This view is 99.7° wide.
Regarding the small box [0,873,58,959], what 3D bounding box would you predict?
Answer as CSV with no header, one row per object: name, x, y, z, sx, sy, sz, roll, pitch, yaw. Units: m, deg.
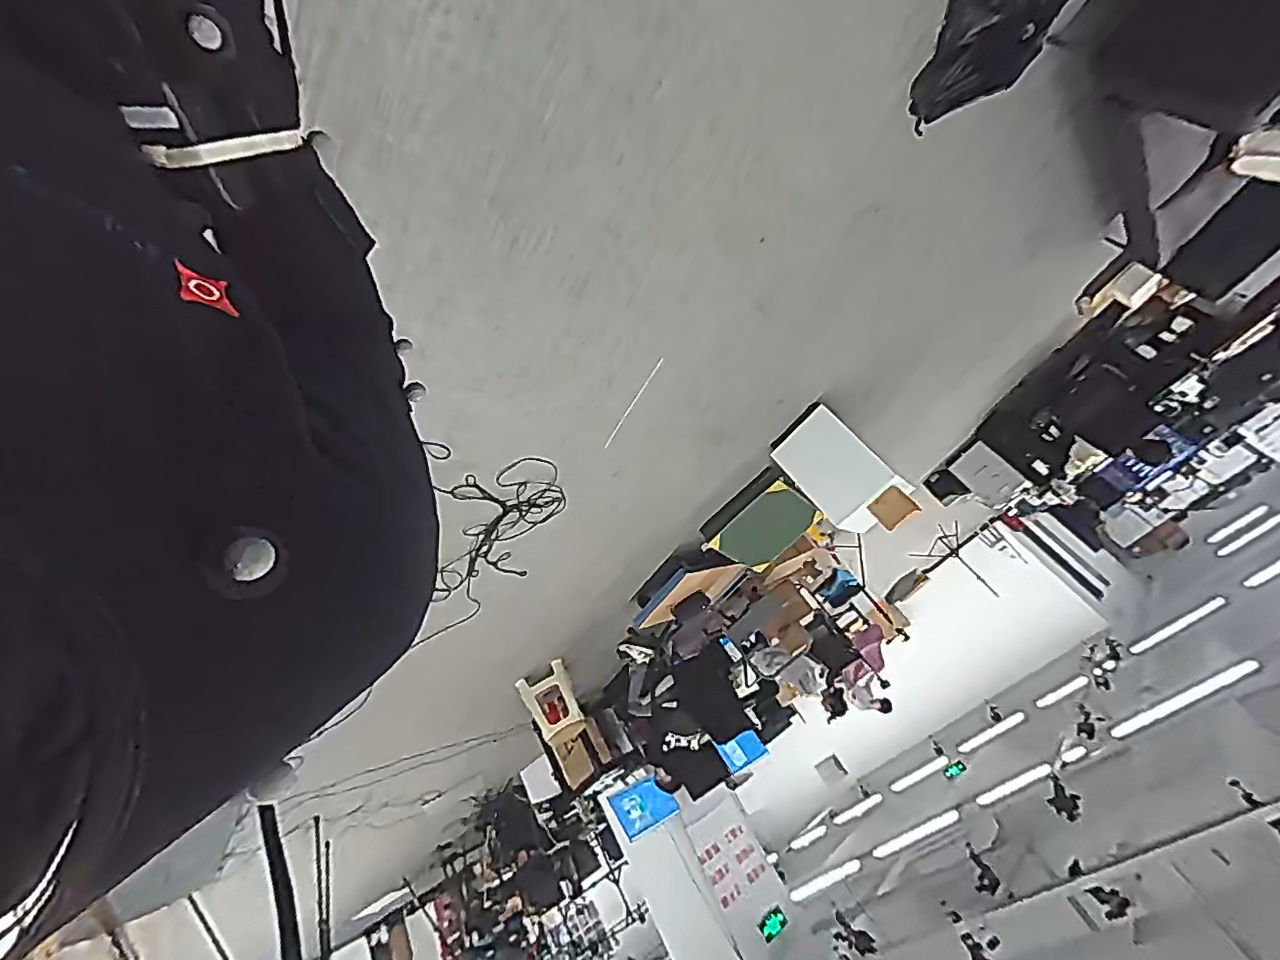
small box,-1.297,0.928,1.077,0.168,0.176,0.179,-8,141,-39
